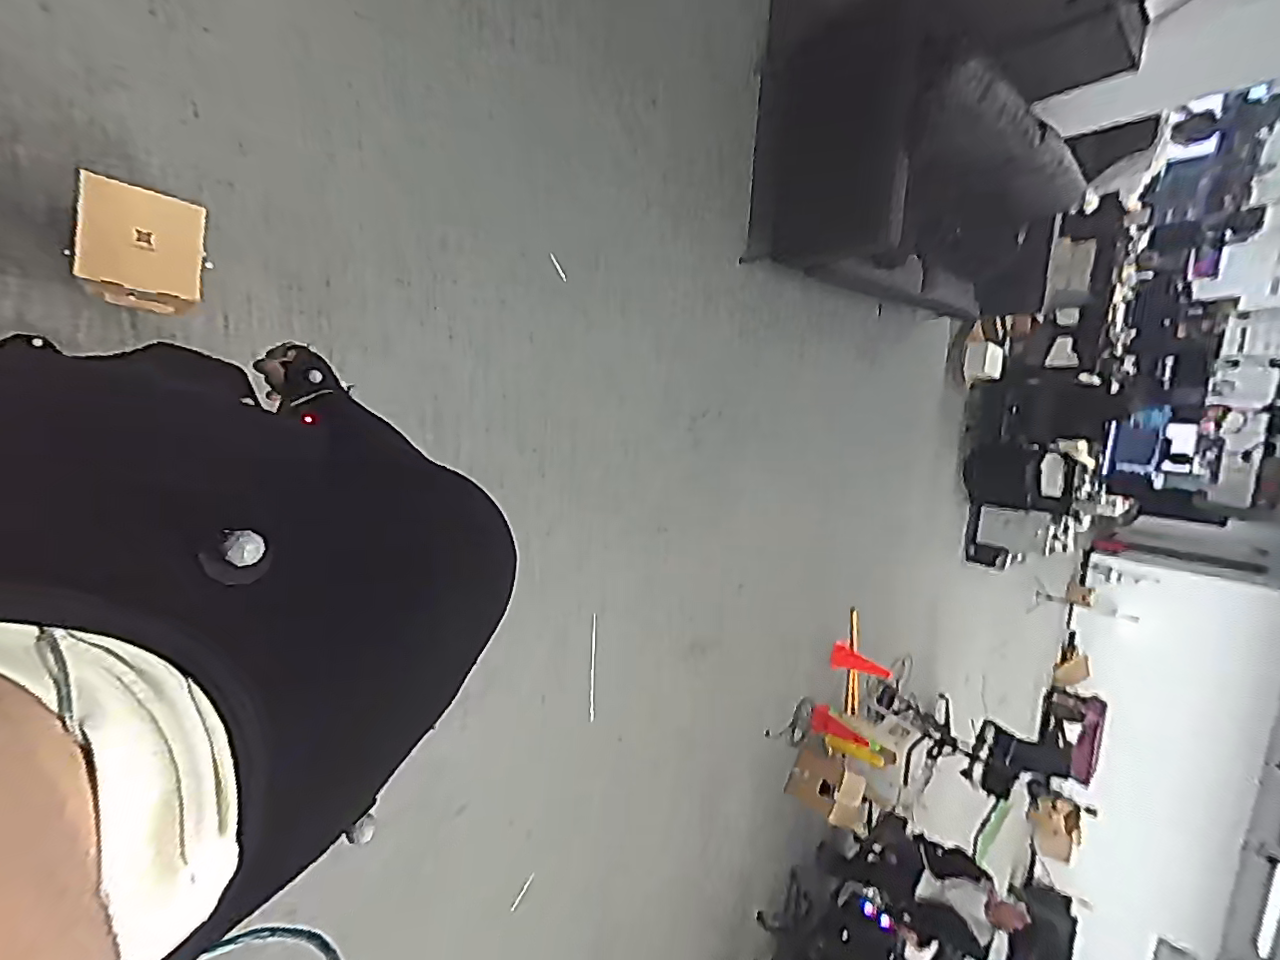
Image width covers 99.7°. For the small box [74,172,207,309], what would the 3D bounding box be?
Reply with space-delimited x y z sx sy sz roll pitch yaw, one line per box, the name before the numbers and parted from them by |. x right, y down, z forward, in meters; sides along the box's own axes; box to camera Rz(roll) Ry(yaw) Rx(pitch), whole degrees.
small box | -0.930 -0.433 1.011 0.168 0.176 0.179 4 96 -43

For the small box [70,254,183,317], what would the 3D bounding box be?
small box | -1.043 -0.453 1.124 0.168 0.176 0.179 11 92 -41
